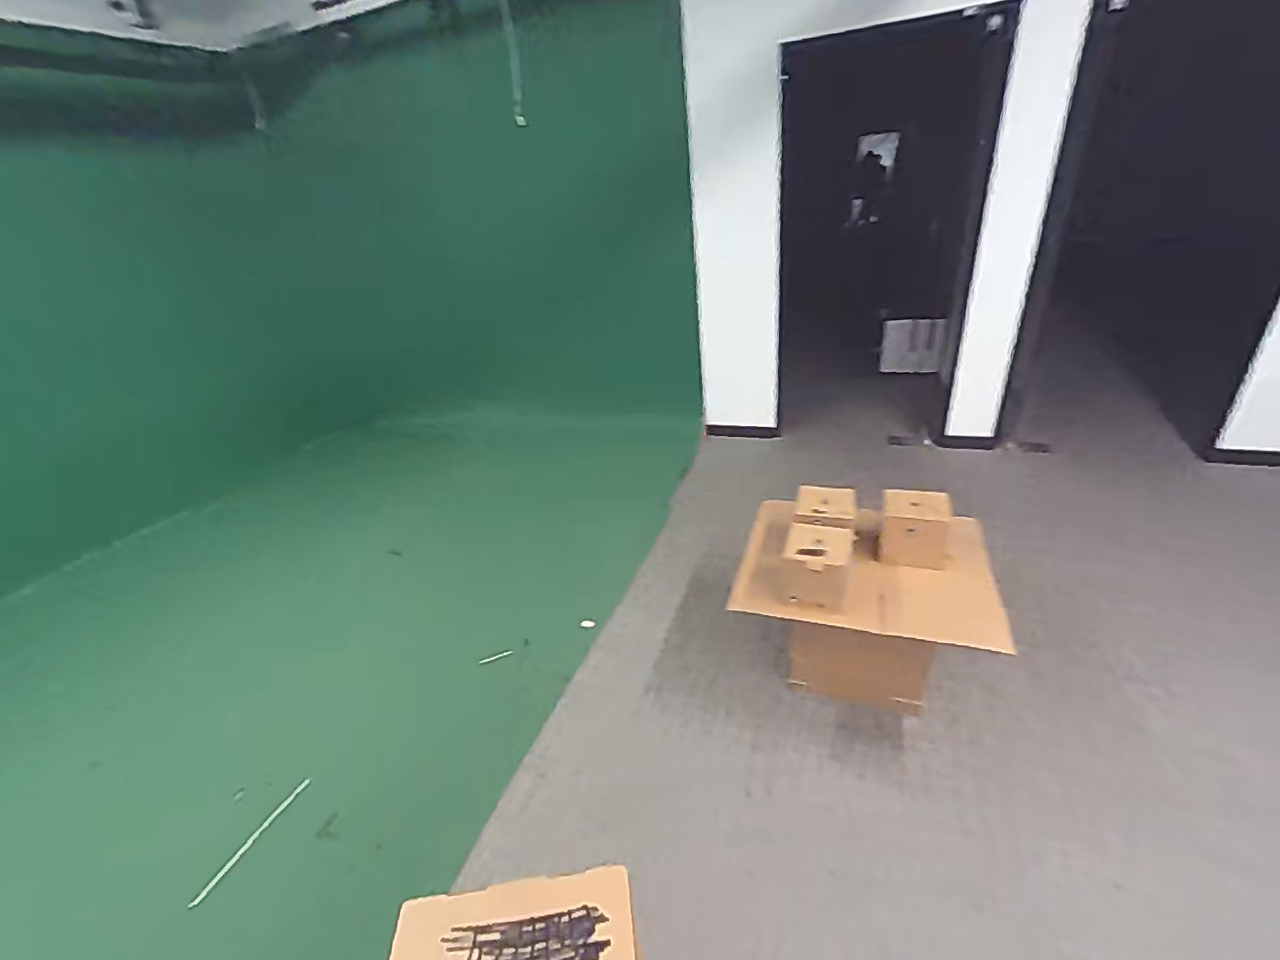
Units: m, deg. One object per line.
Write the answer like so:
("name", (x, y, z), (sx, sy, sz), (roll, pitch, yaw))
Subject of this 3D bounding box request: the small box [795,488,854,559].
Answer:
("small box", (0.574, 0.141, 1.689), (0.168, 0.176, 0.179), (3, 29, 20))

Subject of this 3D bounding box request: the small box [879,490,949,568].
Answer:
("small box", (0.818, 0.147, 1.622), (0.179, 0.176, 0.168), (4, 30, 24))

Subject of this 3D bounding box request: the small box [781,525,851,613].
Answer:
("small box", (0.494, 0.248, 1.511), (0.168, 0.176, 0.179), (5, 30, 22))
